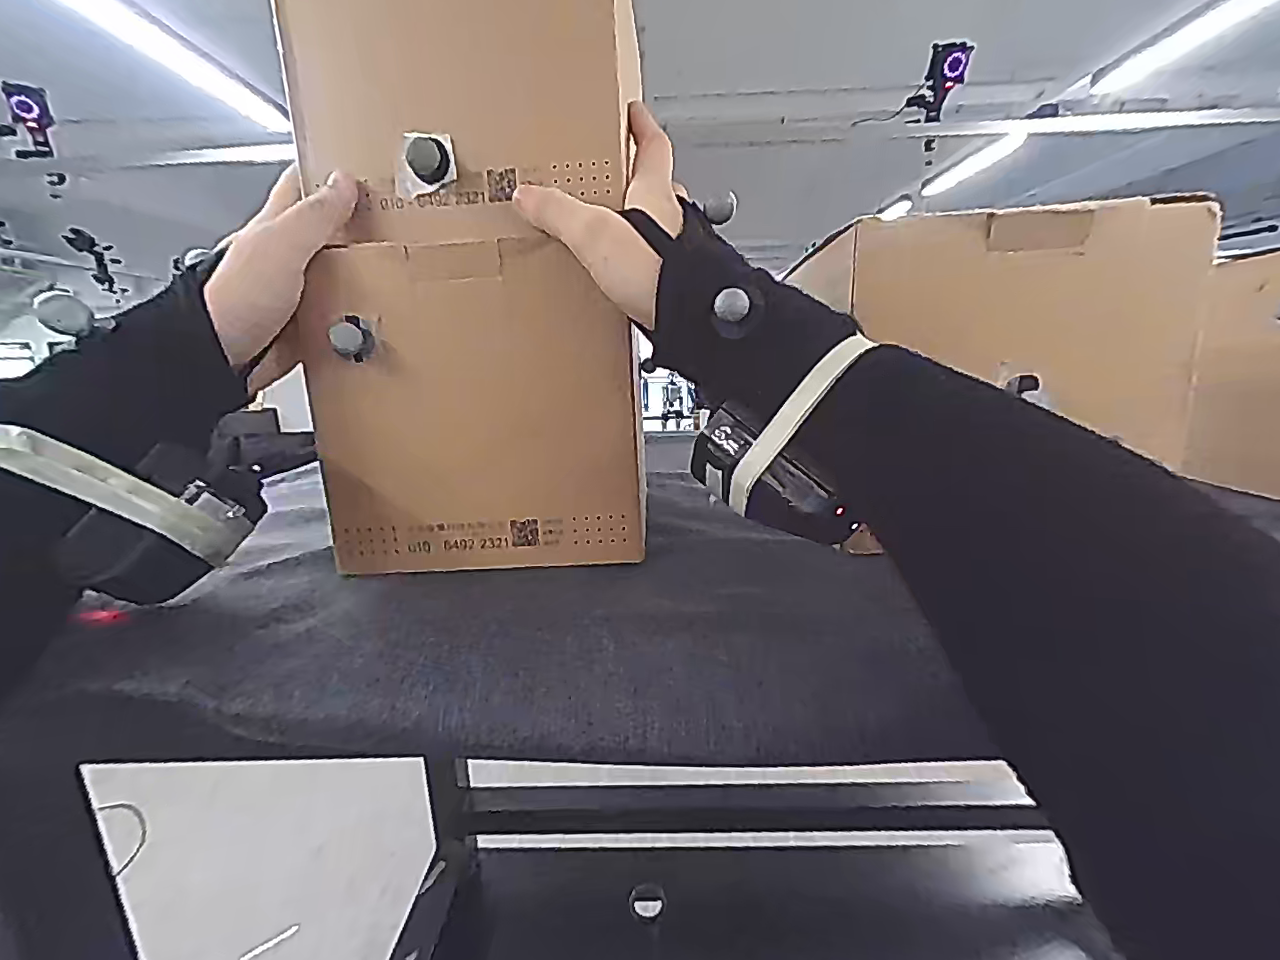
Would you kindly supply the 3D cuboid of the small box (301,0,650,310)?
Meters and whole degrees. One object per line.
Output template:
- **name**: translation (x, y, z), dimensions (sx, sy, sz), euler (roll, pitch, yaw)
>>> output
- **small box**: translation (-0.082, -0.205, 0.343), dimensions (0.168, 0.176, 0.179), euler (-3, 12, 4)

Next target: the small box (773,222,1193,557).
- **small box**: translation (0.186, -0.053, 0.353), dimensions (0.168, 0.176, 0.179), euler (-1, 11, 2)

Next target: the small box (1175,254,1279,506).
- **small box**: translation (0.499, -0.061, 0.339), dimensions (0.168, 0.176, 0.179), euler (-1, 12, 7)
